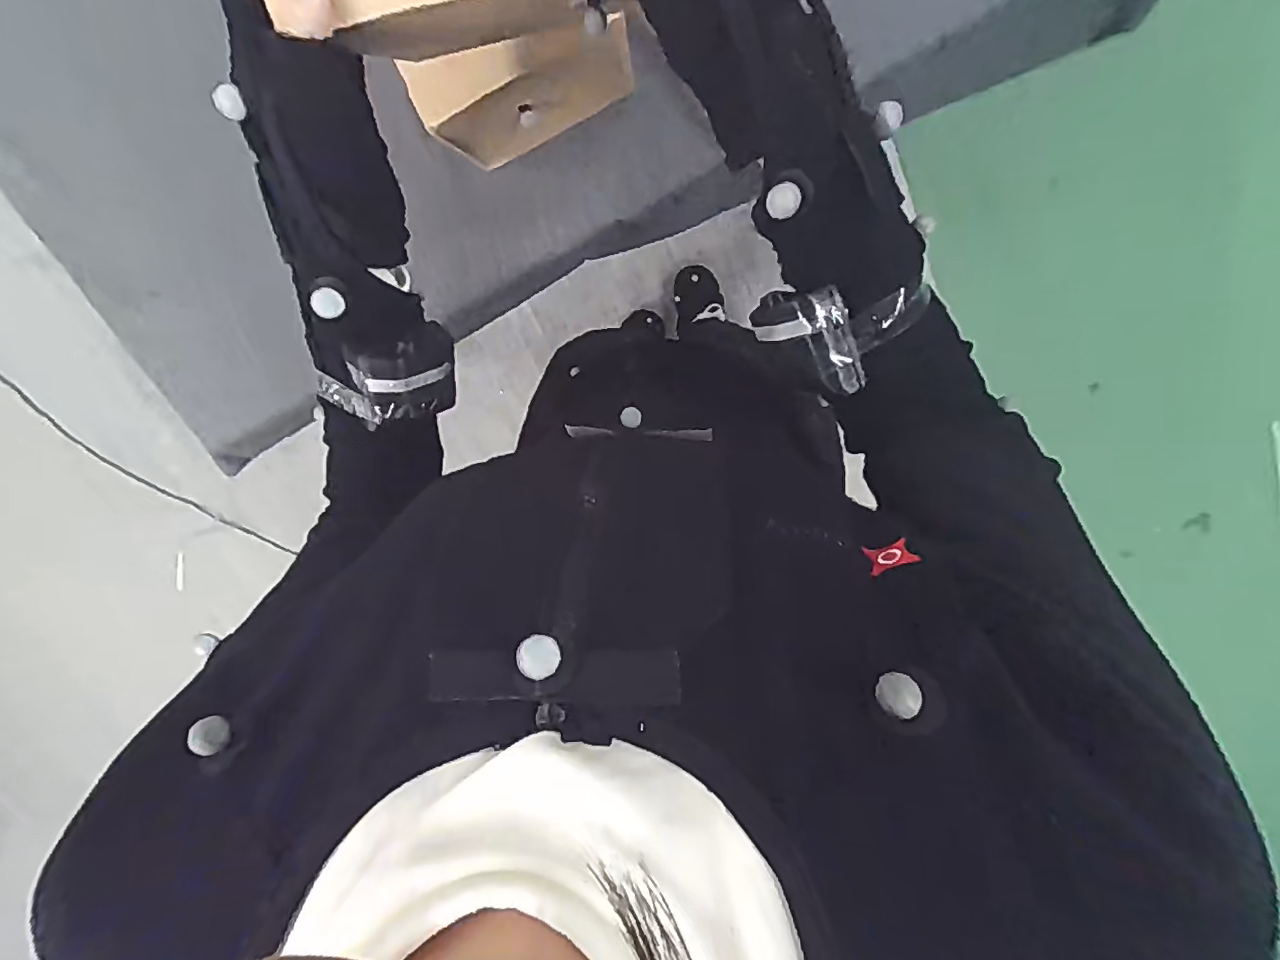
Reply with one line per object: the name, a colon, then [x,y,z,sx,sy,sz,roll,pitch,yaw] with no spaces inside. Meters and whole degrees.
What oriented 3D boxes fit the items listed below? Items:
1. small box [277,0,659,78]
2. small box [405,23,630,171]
small box: [-0.076,-0.299,0.237,0.179,0.176,0.168,-12,124,7]
small box: [-0.122,-0.409,0.477,0.179,0.176,0.168,-26,105,10]
